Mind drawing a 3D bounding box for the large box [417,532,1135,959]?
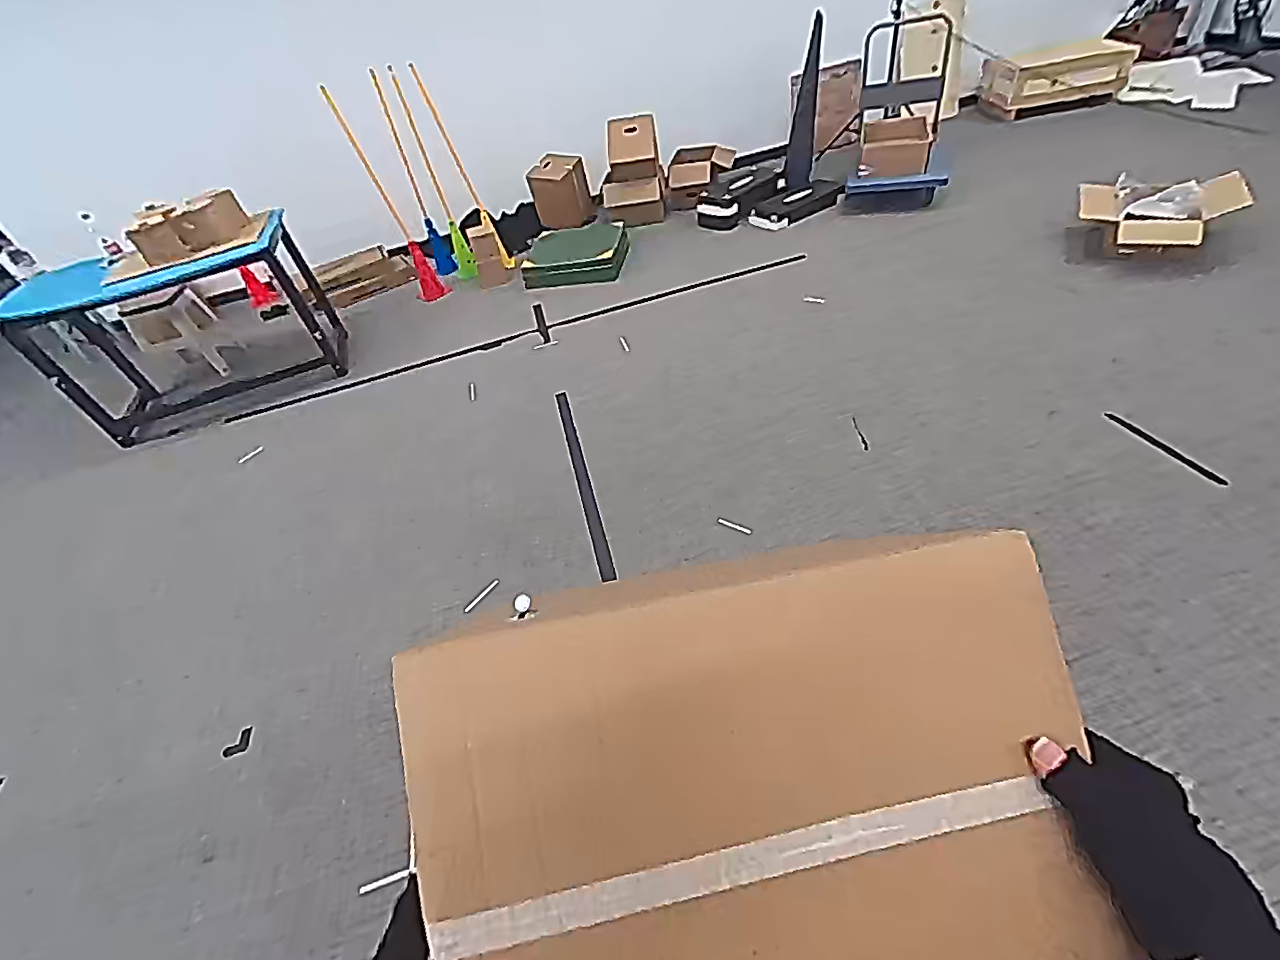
[{"bbox_3d":[0.076,0.242,0.475,0.408,0.320,0.320,-11,84,-4],"label":"large box"}]
